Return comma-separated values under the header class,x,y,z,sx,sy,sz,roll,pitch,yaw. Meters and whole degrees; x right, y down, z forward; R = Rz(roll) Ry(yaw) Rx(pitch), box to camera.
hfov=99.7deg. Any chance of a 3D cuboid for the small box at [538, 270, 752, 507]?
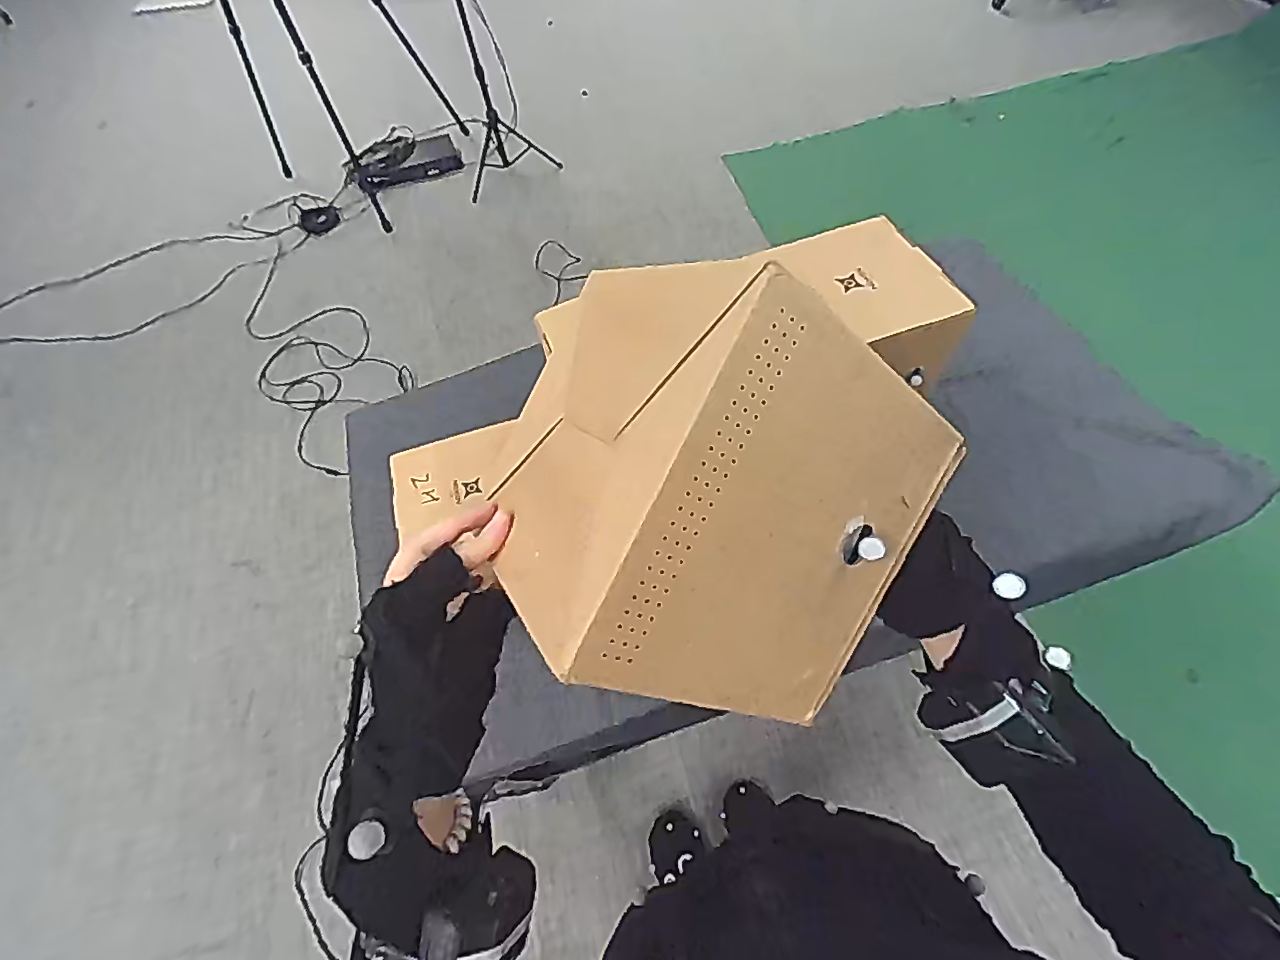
class,x,y,z,sx,sy,sz,roll,pitch,yaw
small box,0.008,-0.094,0.610,0.179,0.176,0.168,-22,61,-7
